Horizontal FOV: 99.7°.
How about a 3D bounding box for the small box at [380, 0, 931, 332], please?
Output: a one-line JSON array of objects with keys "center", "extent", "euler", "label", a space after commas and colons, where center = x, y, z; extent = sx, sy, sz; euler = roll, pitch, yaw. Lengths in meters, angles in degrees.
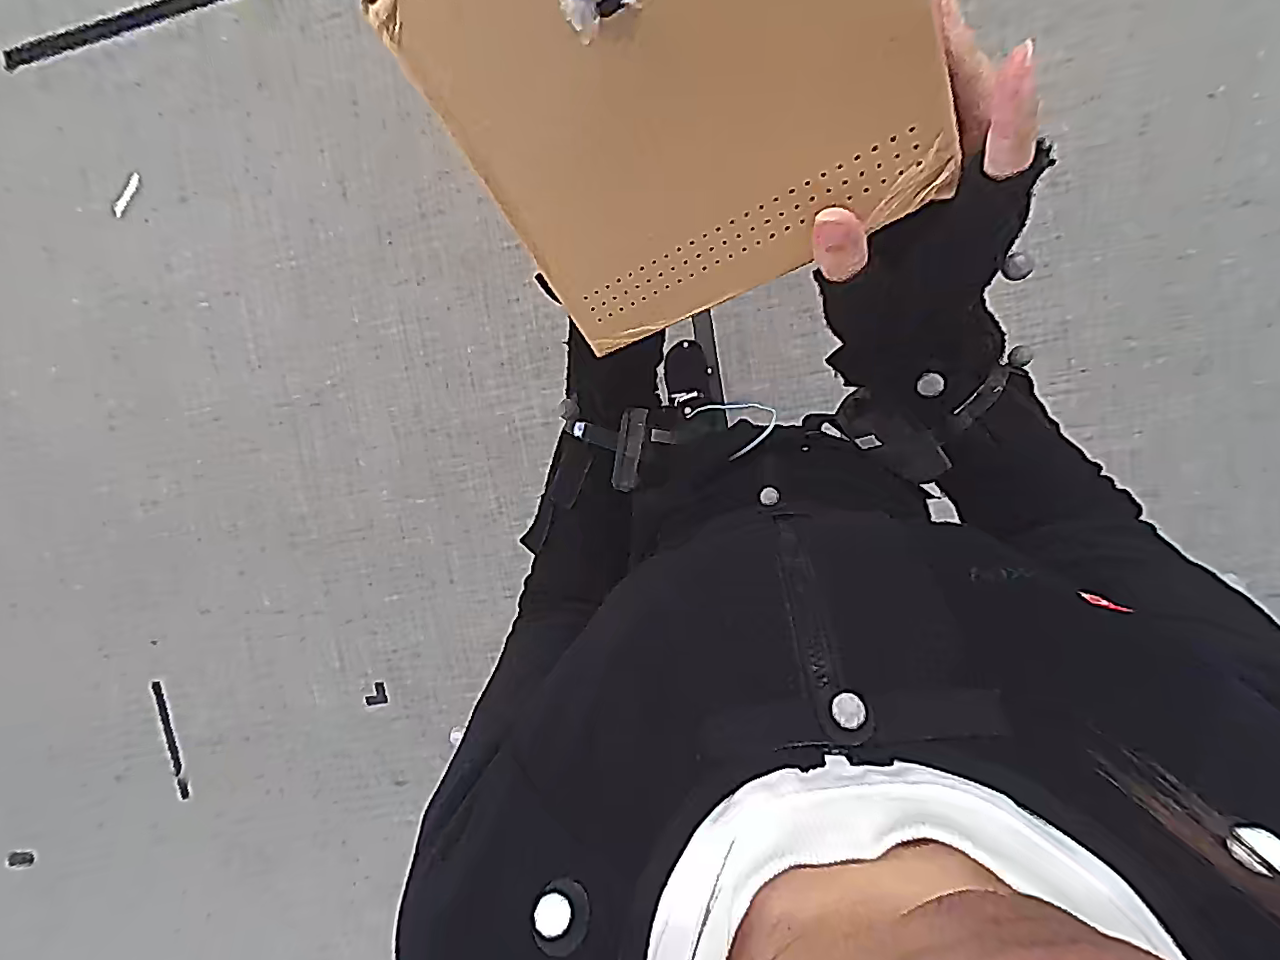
[{"center": [0.022, -0.205, 0.273], "extent": [0.179, 0.168, 0.176], "euler": [-17, 129, 28], "label": "small box"}]
